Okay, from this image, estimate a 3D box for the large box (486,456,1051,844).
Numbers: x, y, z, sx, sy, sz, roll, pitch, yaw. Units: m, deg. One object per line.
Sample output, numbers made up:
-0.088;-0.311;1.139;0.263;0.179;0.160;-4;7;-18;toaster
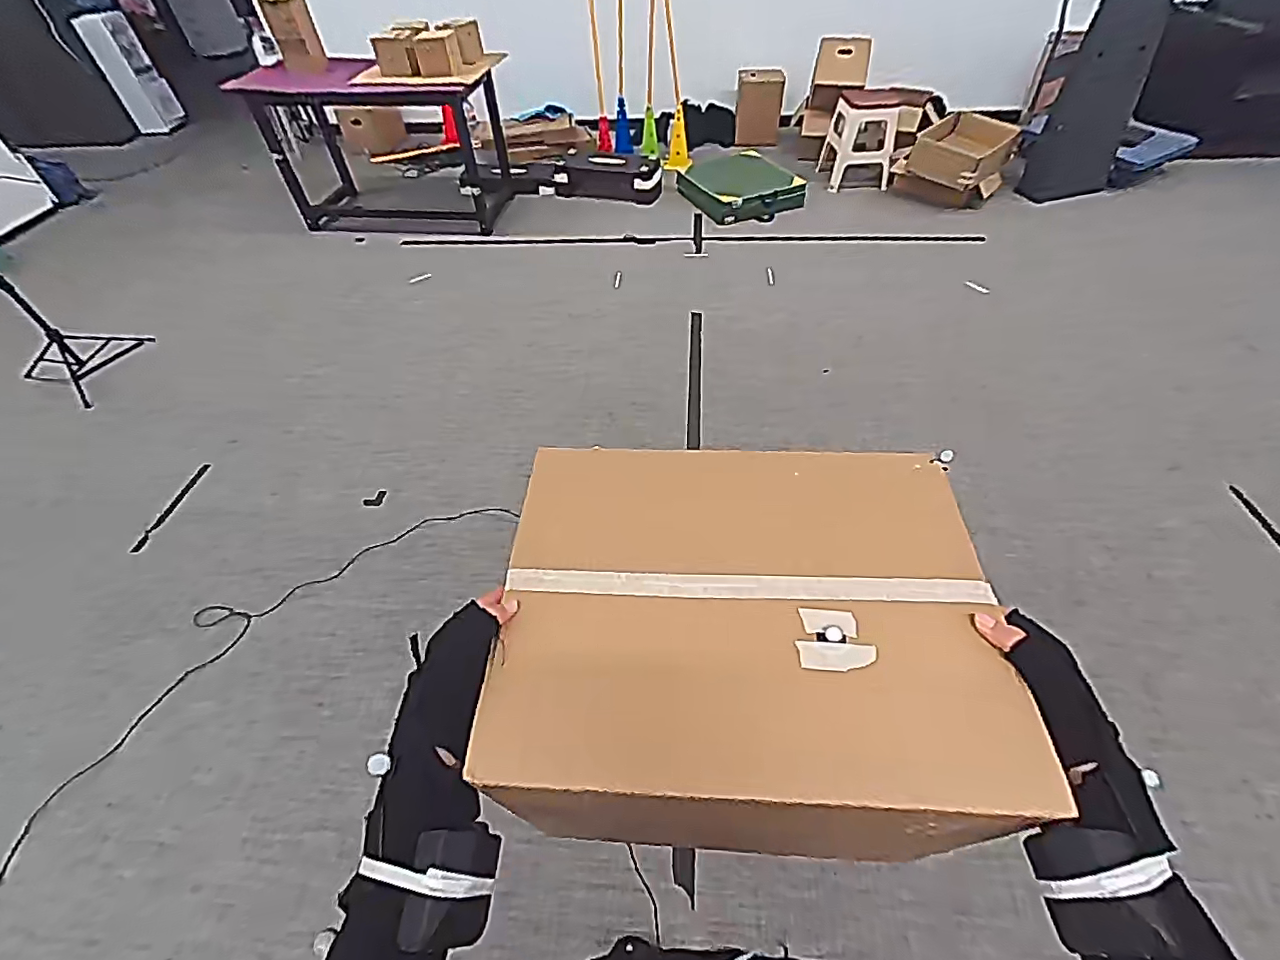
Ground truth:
0.095;0.188;0.585;0.408;0.320;0.320;1;52;4;large box
